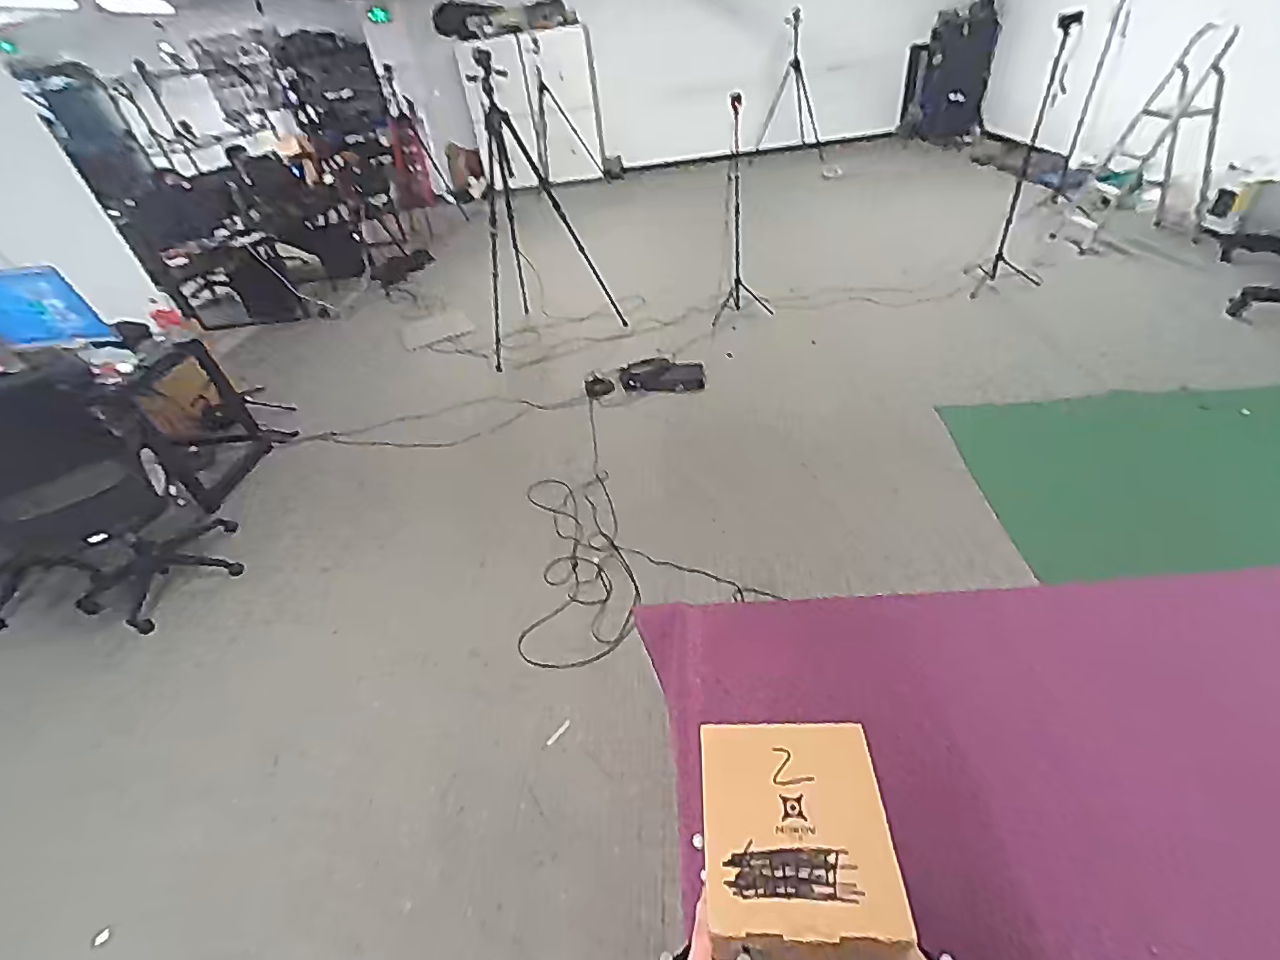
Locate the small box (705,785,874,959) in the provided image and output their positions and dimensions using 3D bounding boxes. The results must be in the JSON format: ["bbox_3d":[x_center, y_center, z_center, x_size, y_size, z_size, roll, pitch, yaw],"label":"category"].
[{"bbox_3d":[0.168,0.493,0.653,0.168,0.176,0.179,-3,40,7],"label":"small box"}]
